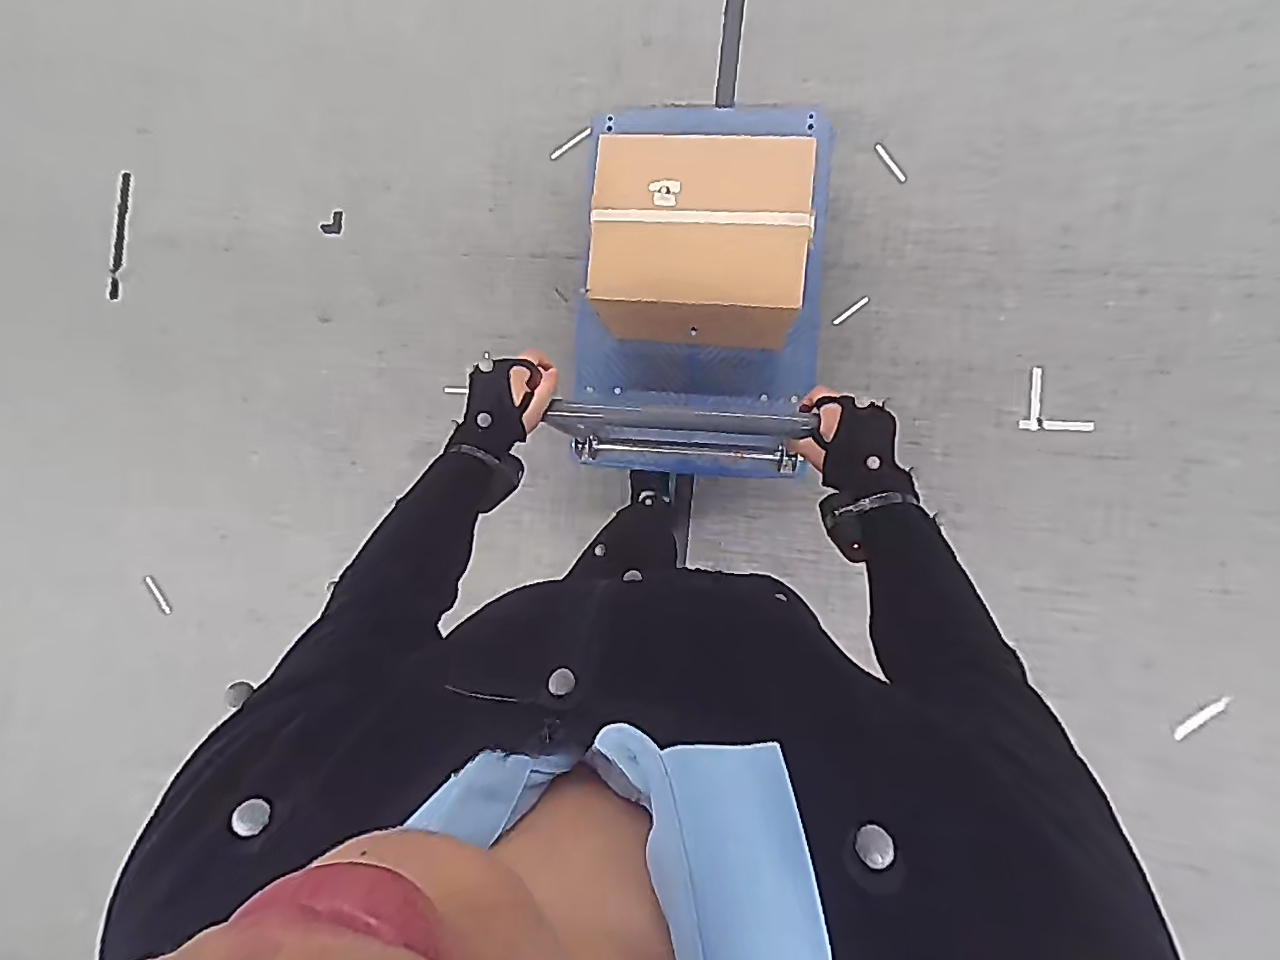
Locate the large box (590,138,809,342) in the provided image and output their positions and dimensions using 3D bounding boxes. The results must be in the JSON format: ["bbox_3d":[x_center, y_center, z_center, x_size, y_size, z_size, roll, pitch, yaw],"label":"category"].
[{"bbox_3d":[0.130,-0.491,1.171,0.408,0.320,0.320,5,90,8],"label":"large box"}]
